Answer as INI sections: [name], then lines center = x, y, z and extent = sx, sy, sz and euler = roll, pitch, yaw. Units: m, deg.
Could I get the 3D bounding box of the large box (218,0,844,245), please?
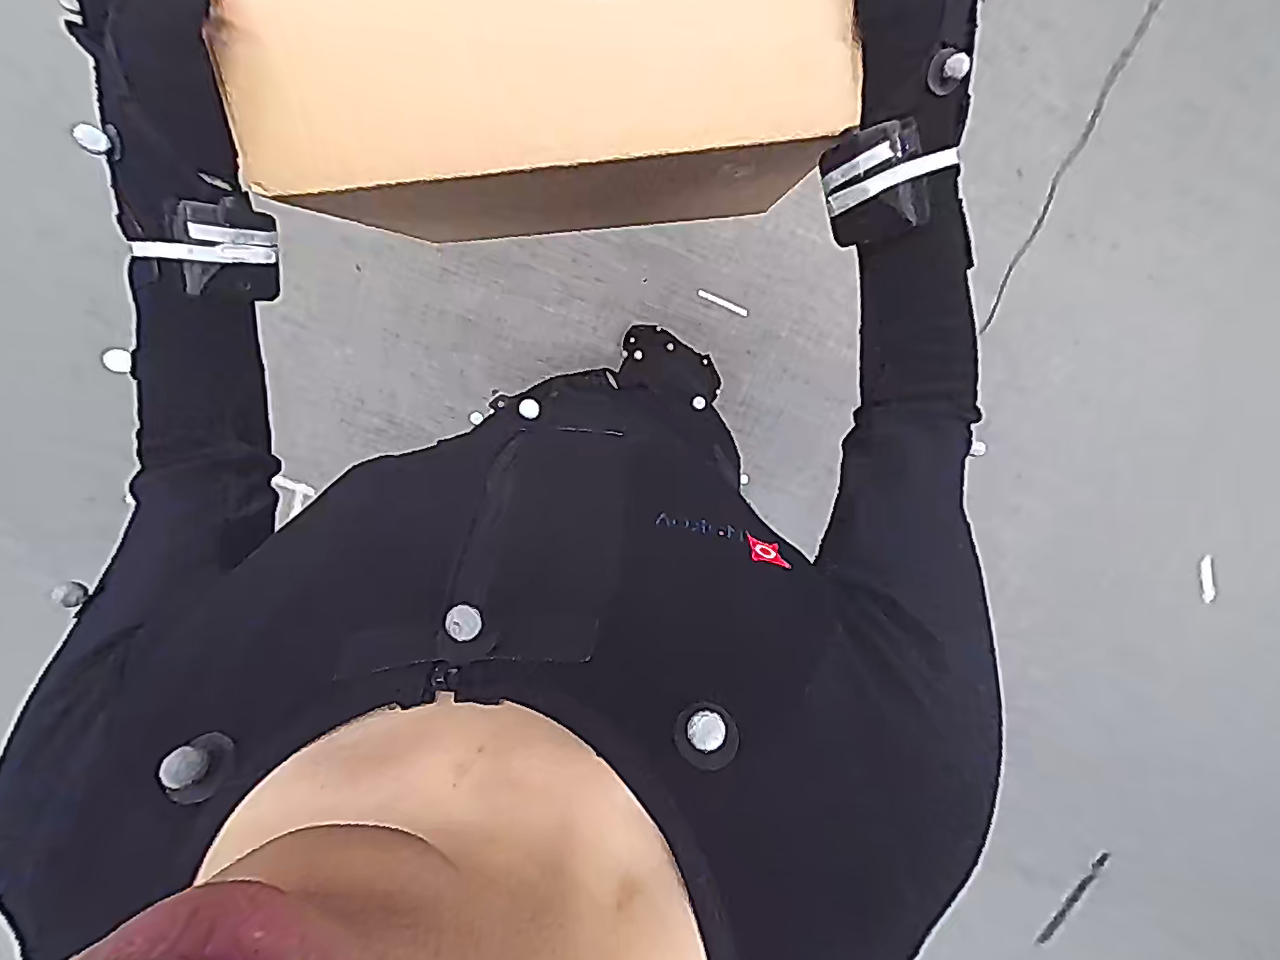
[large box]
center = -0.078, -0.411, 0.469
extent = 0.408, 0.320, 0.320
euler = -6, 108, 3
